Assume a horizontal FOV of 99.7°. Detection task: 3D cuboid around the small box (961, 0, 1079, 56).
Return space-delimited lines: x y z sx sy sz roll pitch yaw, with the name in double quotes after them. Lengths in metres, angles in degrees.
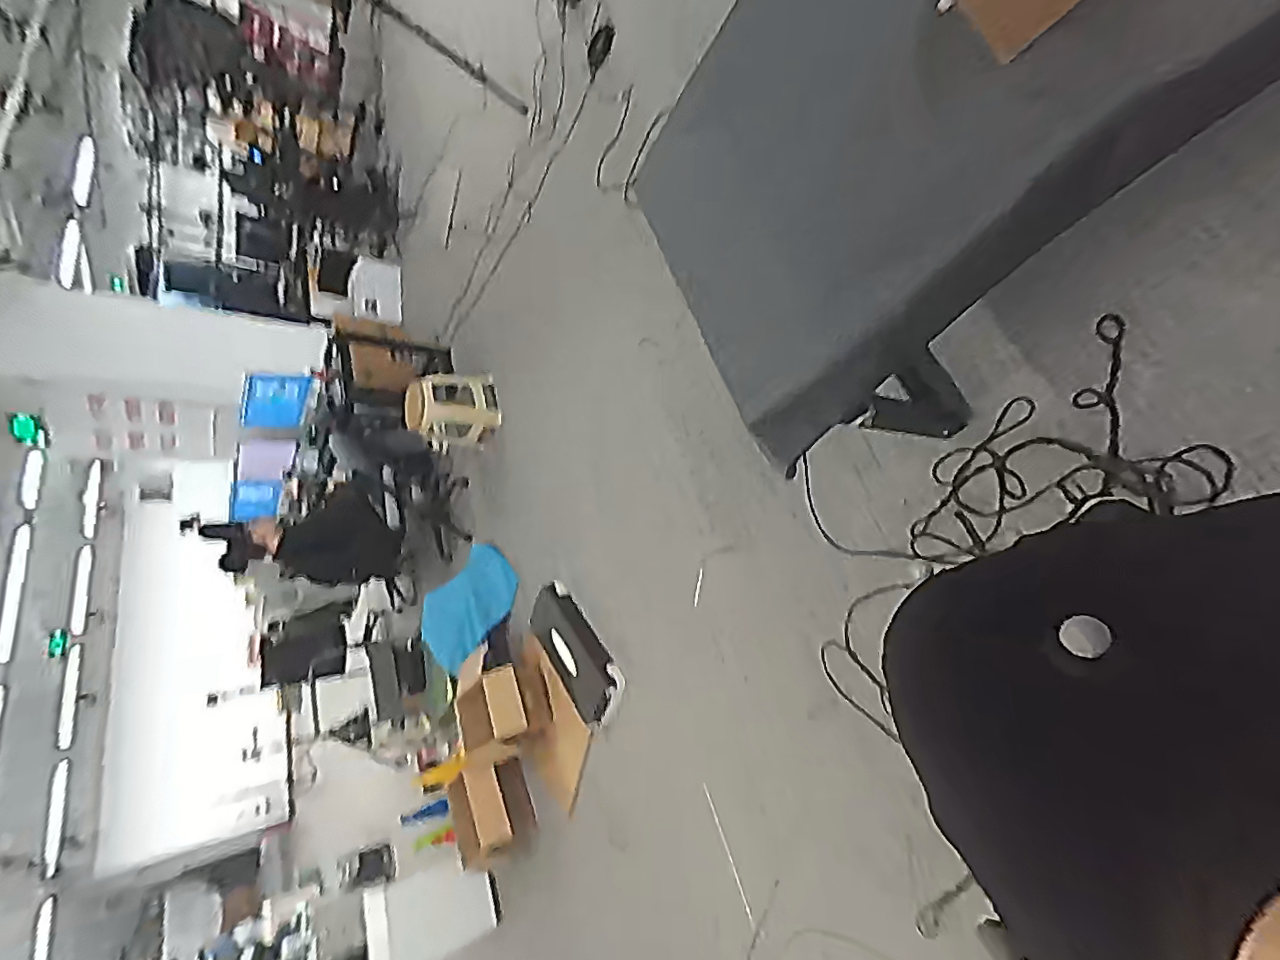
0.372 -0.562 0.502 0.179 0.176 0.168 -34 62 46 "small box"
